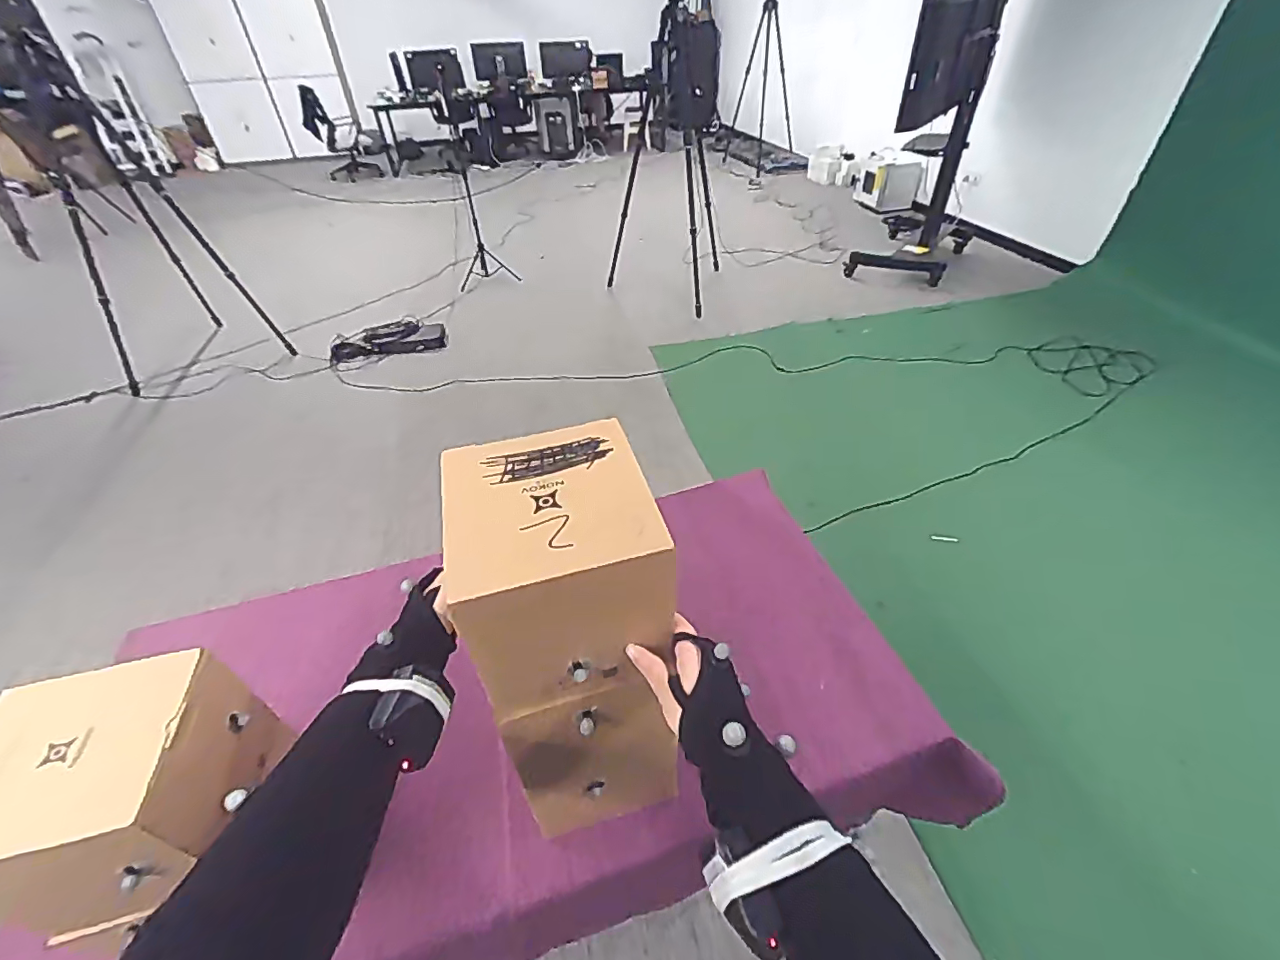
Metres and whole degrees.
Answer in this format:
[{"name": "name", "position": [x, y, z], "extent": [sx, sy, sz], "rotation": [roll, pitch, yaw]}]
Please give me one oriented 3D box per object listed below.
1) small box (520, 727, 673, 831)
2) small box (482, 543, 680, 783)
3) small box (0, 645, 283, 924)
[{"name": "small box", "position": [-0.061, 0.324, 0.706], "extent": [0.179, 0.176, 0.168], "rotation": [-12, 42, -11]}, {"name": "small box", "position": [-0.064, 0.201, 0.599], "extent": [0.179, 0.176, 0.168], "rotation": [-14, 43, -10]}, {"name": "small box", "position": [-0.487, 0.292, 0.522], "extent": [0.179, 0.176, 0.168], "rotation": [-12, 42, -9]}]
